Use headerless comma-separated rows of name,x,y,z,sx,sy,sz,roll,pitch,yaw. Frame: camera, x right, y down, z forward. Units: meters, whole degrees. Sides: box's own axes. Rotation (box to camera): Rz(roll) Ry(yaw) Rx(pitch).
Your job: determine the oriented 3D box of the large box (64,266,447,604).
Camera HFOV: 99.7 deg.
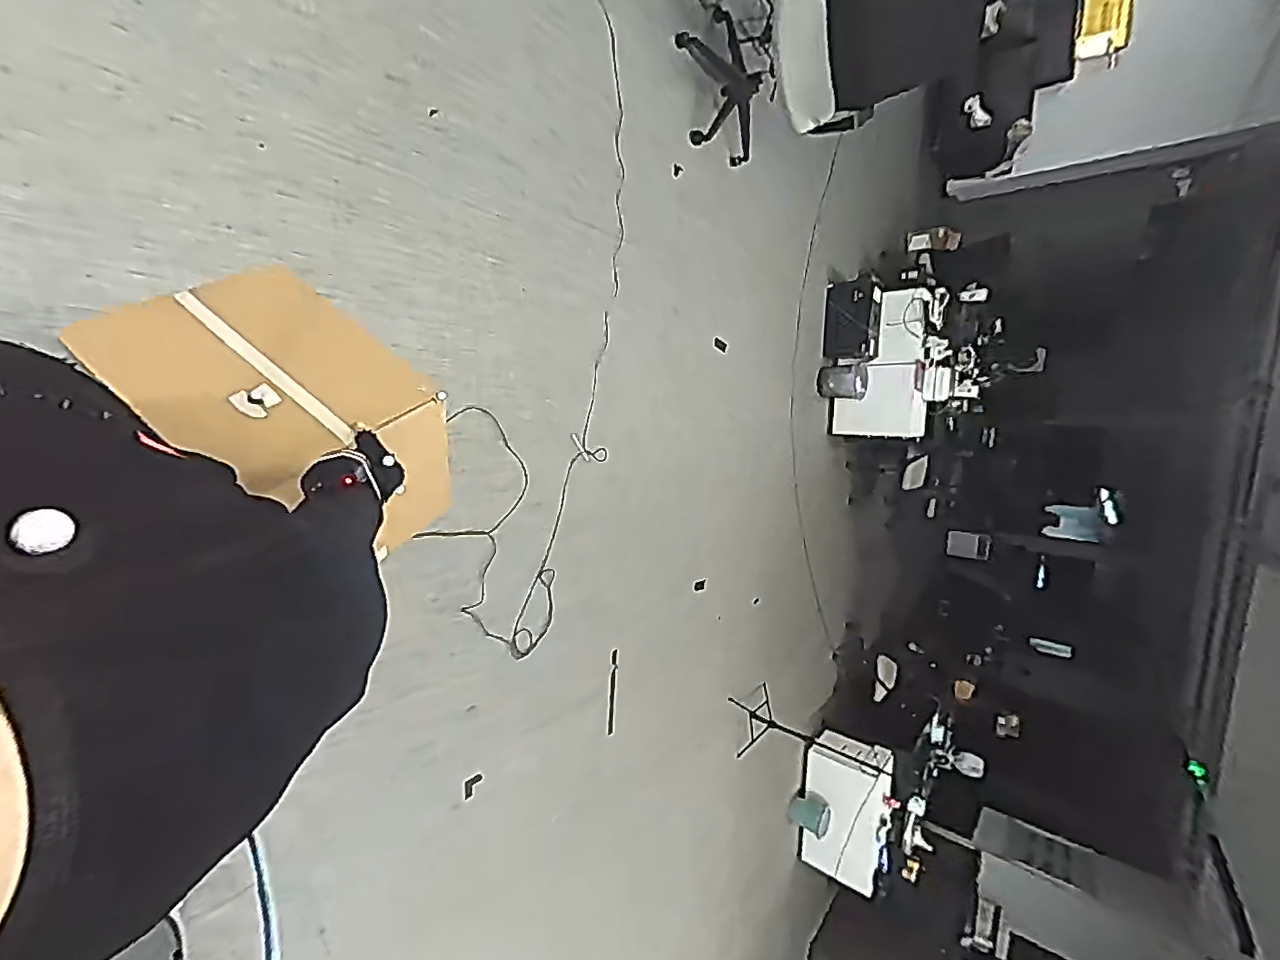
large box,-0.578,-0.079,0.893,0.320,0.408,0.320,-43,165,-38
